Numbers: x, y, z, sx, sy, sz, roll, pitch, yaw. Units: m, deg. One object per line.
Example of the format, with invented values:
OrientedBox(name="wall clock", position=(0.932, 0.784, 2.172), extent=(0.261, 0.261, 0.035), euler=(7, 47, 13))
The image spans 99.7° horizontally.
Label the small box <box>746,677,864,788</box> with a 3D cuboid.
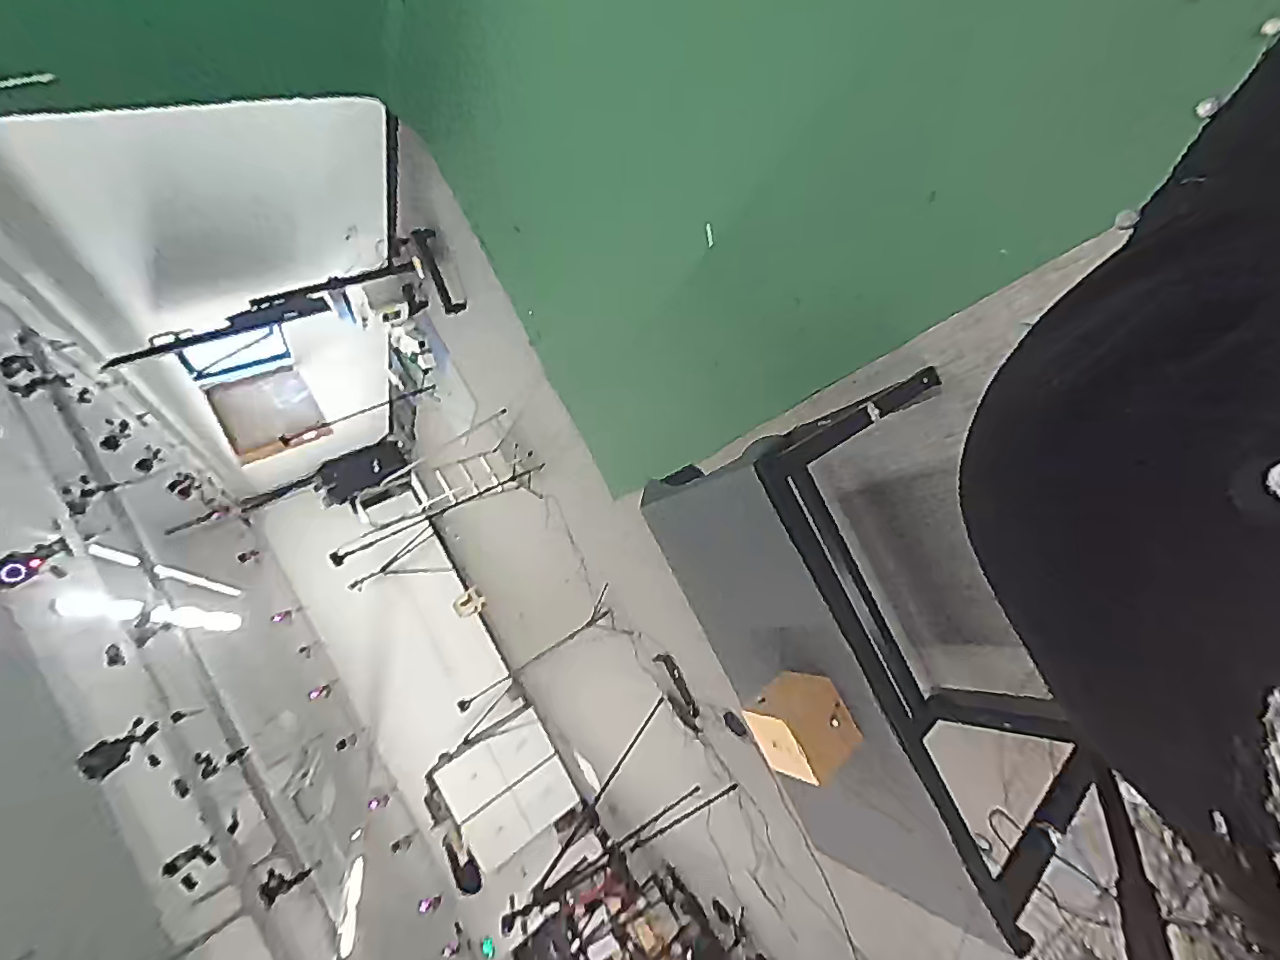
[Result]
OrientedBox(name="small box", position=(0.397, 0.595, 1.302), extent=(0.168, 0.176, 0.179), euler=(61, 152, 1))
